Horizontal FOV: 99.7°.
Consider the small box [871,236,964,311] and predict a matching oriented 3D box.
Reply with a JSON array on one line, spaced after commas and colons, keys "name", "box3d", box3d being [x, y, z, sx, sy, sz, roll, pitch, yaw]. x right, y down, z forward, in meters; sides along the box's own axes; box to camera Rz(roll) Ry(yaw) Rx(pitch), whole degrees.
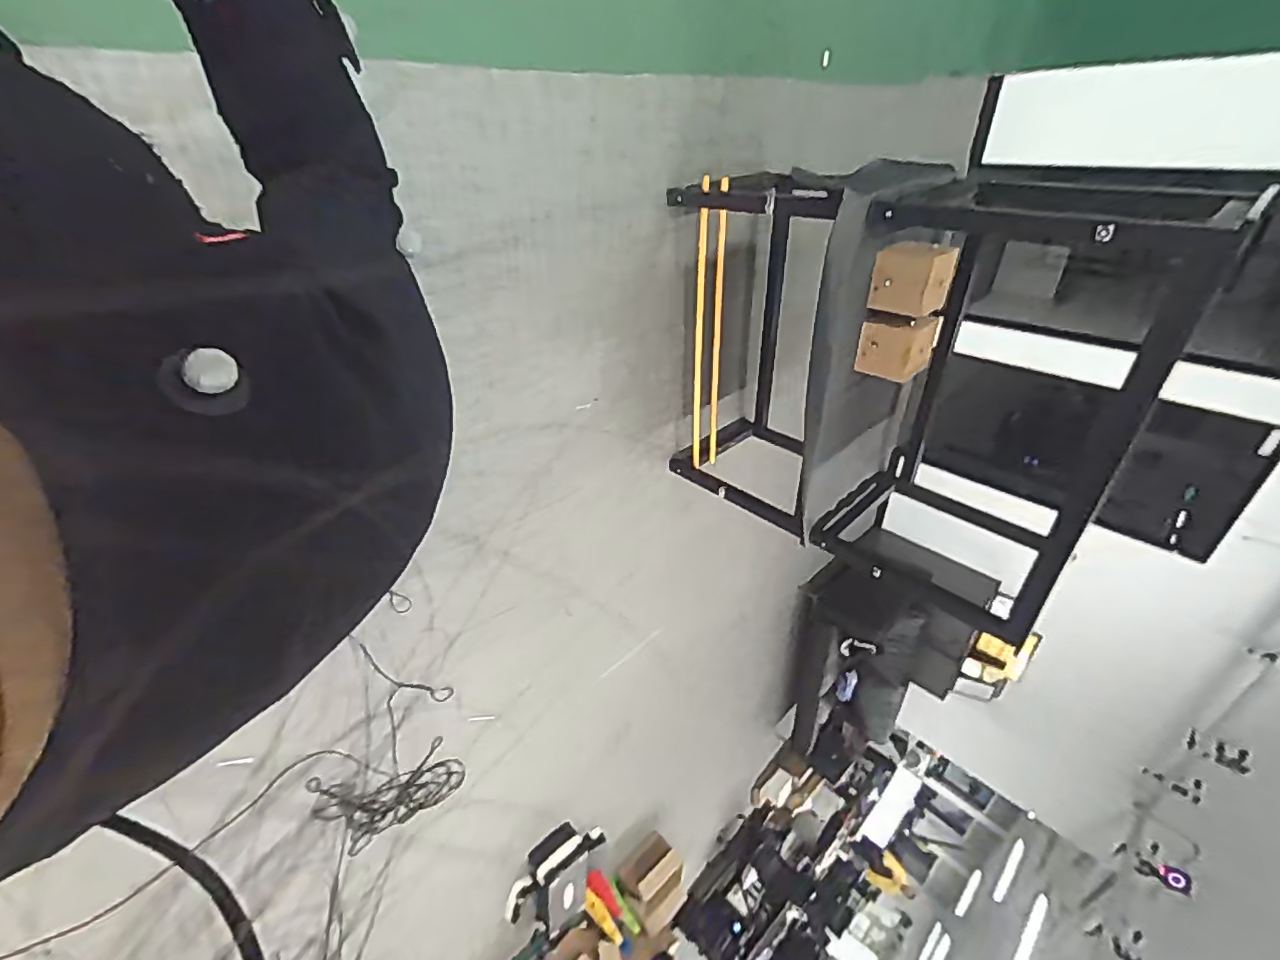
[{"name": "small box", "box3d": [0.815, -0.615, 1.597, 0.179, 0.176, 0.168, -29, 133, -34]}]
